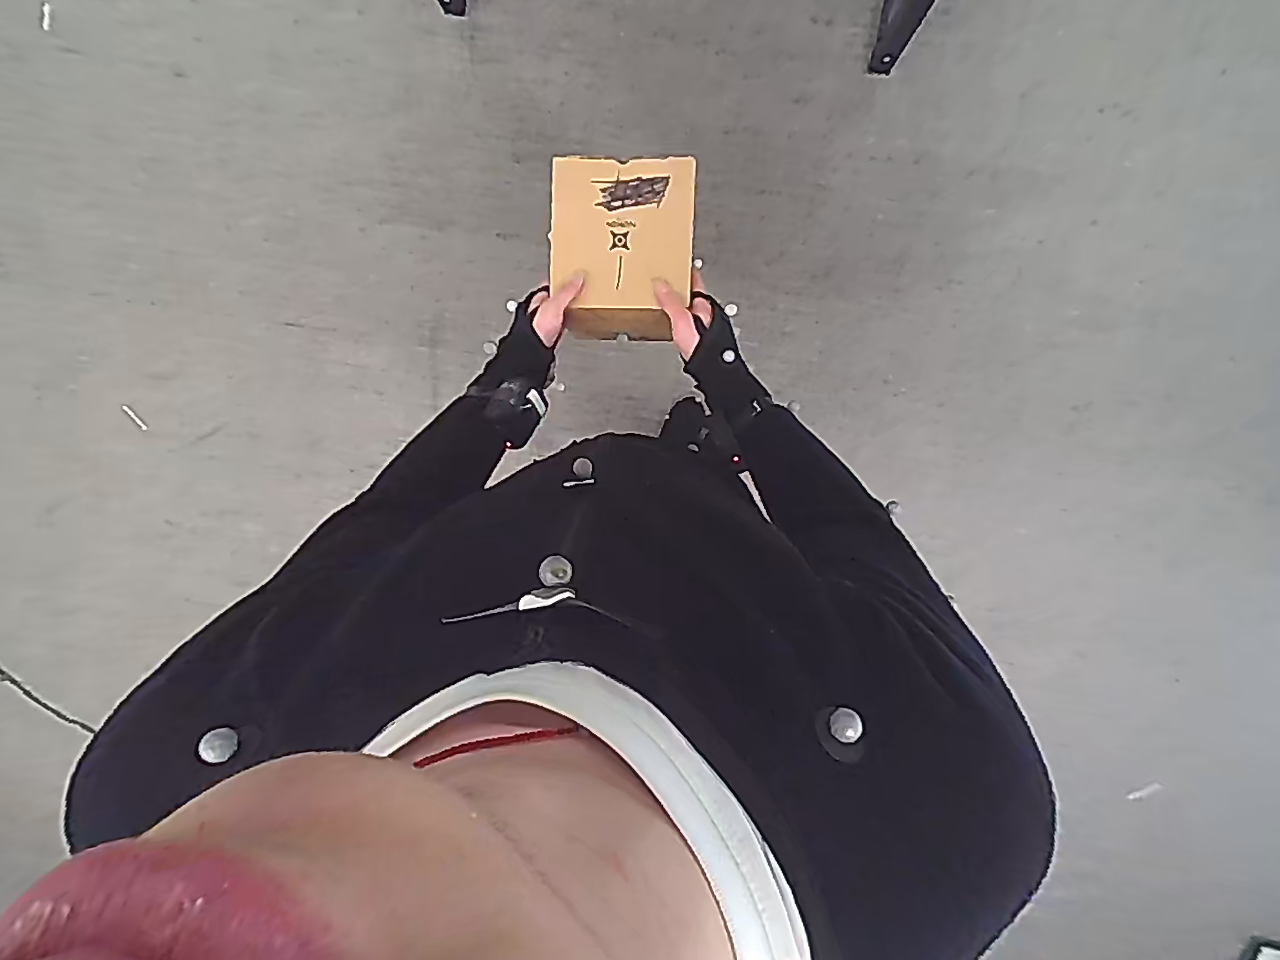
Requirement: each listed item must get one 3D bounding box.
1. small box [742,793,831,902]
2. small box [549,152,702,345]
[{"bbox_3d":[0.381,0.972,1.445,0.179,0.176,0.168,9,99,-2],"label":"small box"},{"bbox_3d":[-0.013,-0.286,0.700,0.168,0.176,0.179,5,92,4],"label":"small box"}]
